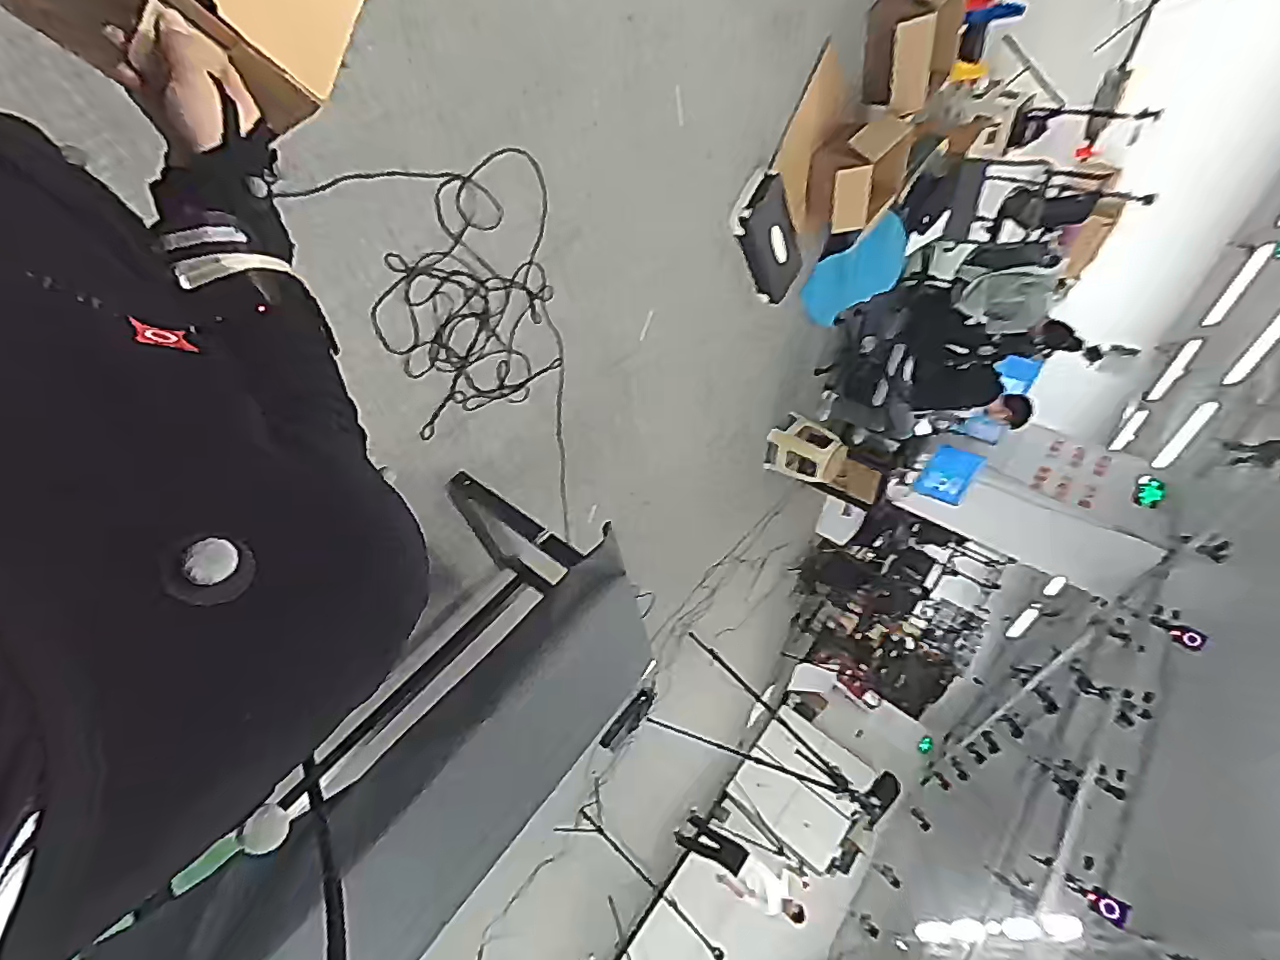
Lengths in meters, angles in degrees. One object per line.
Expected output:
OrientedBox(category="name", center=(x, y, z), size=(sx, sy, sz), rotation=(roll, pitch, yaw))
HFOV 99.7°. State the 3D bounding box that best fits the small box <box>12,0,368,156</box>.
OrientedBox(category="small box", center=(-0.342, -0.402, 0.424), size=(0.168, 0.176, 0.179), rotation=(26, 72, -54))
